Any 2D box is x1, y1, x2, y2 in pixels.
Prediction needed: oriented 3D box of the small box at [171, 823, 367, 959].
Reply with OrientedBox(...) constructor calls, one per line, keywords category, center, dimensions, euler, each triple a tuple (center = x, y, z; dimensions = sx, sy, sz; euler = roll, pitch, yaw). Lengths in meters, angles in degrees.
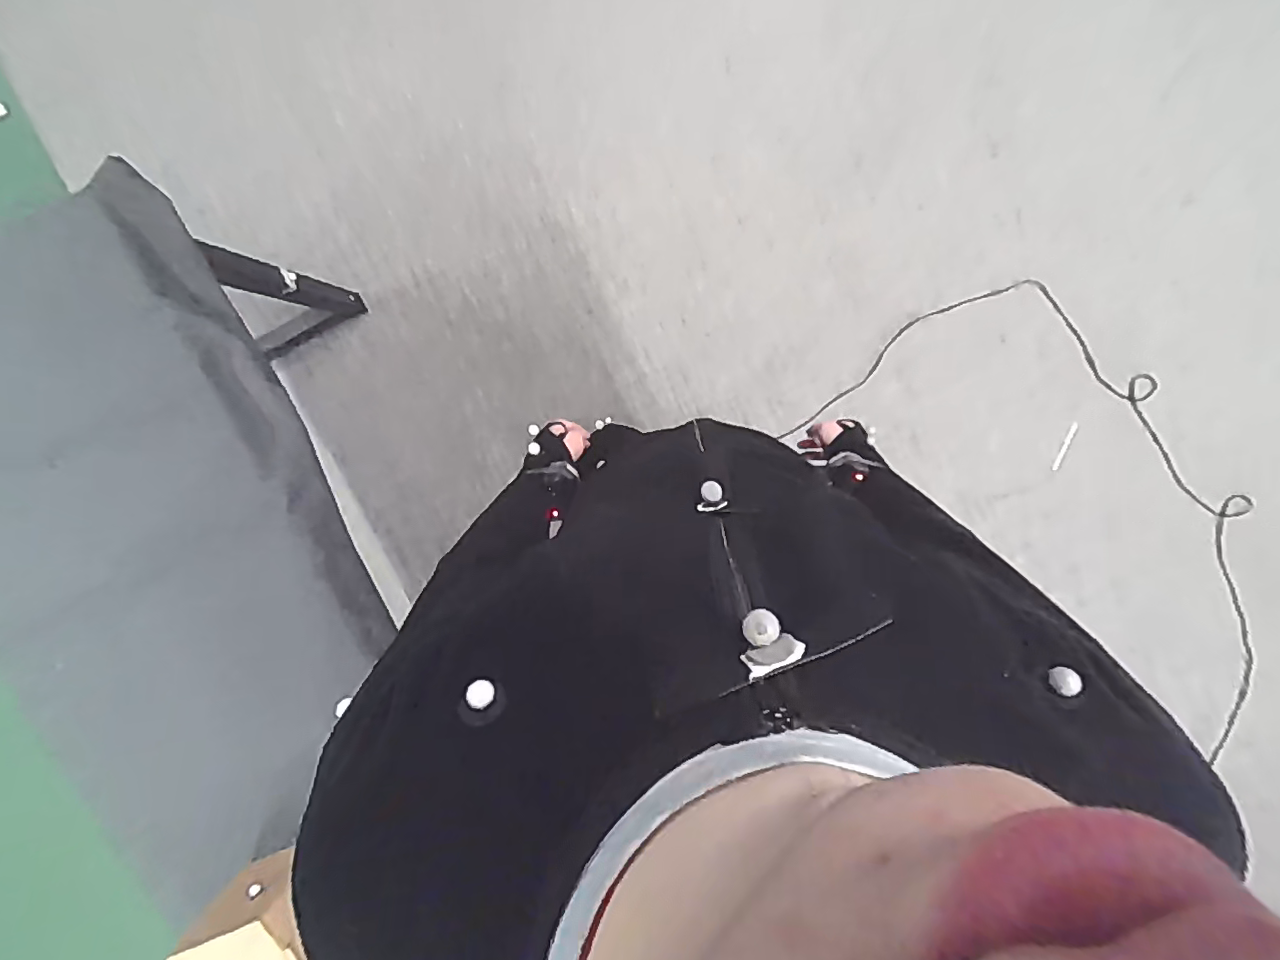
OrientedBox(category="small box", center=(-0.579, 0.706, 0.878), dimensions=(0.179, 0.176, 0.168), euler=(-26, 96, 5))
